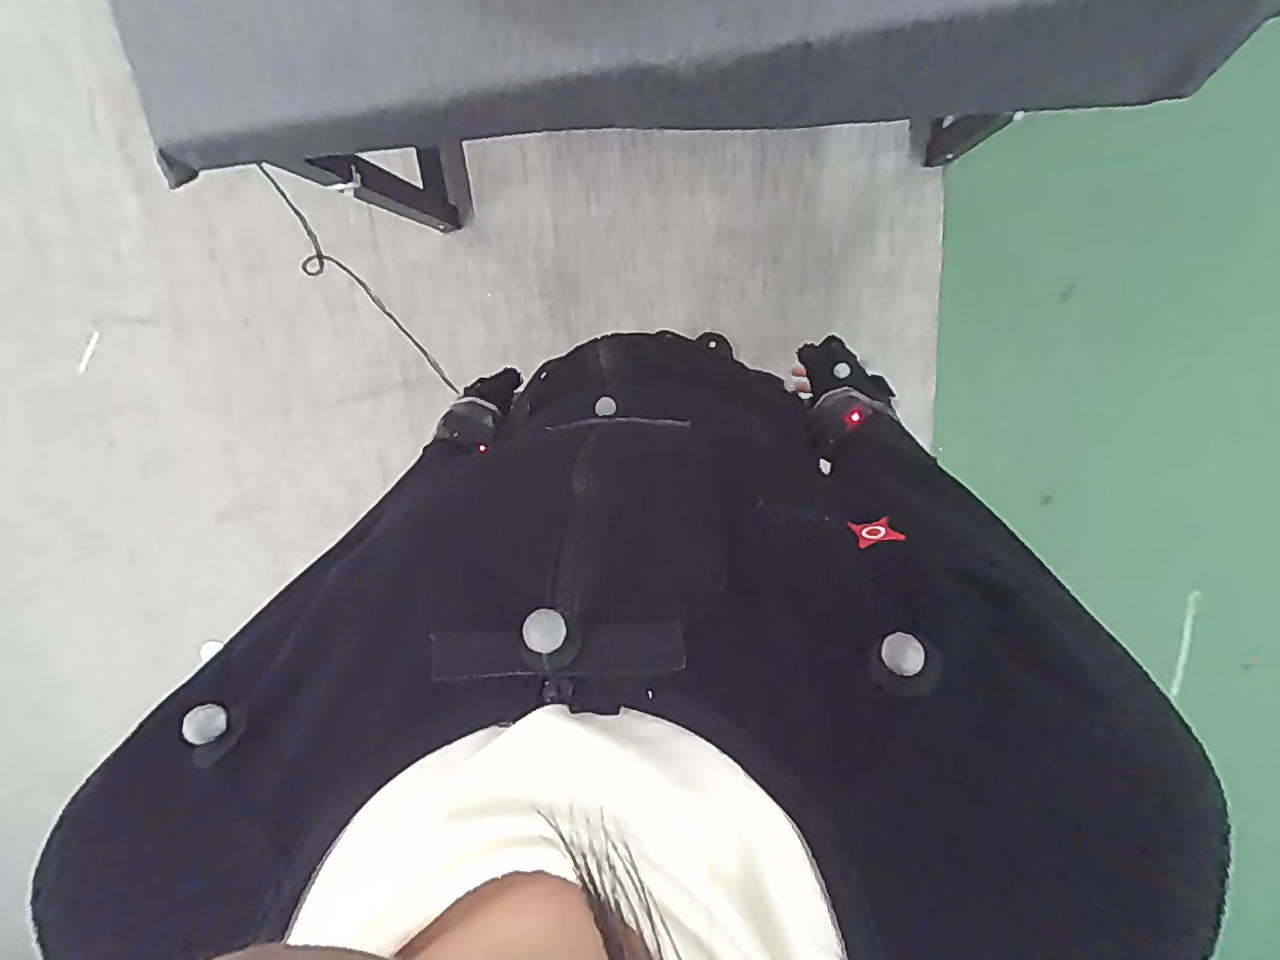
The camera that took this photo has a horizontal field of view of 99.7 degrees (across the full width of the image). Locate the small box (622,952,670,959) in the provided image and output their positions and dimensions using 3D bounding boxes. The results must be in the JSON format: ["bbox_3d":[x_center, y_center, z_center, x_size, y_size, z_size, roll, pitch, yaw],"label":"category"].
[{"bbox_3d":[0.016,1.775,1.864,0.179,0.176,0.168,-4,105,5],"label":"small box"}]
